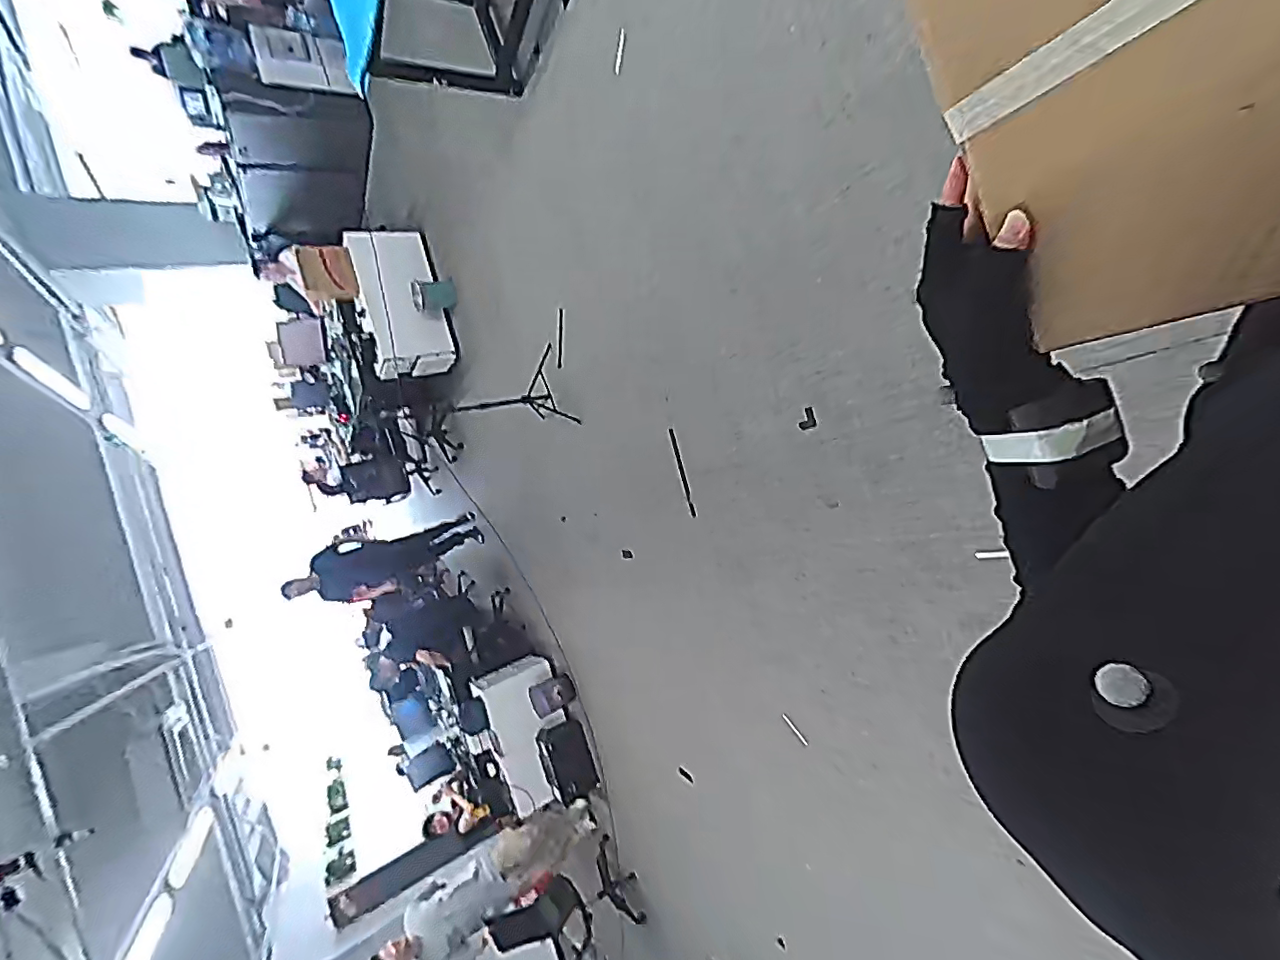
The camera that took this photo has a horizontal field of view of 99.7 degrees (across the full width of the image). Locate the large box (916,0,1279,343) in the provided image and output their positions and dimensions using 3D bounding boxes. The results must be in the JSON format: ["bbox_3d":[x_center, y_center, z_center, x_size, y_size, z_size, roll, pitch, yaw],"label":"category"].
[{"bbox_3d":[0.415,-0.316,0.254,0.408,0.320,0.320,-9,113,57],"label":"large box"}]
